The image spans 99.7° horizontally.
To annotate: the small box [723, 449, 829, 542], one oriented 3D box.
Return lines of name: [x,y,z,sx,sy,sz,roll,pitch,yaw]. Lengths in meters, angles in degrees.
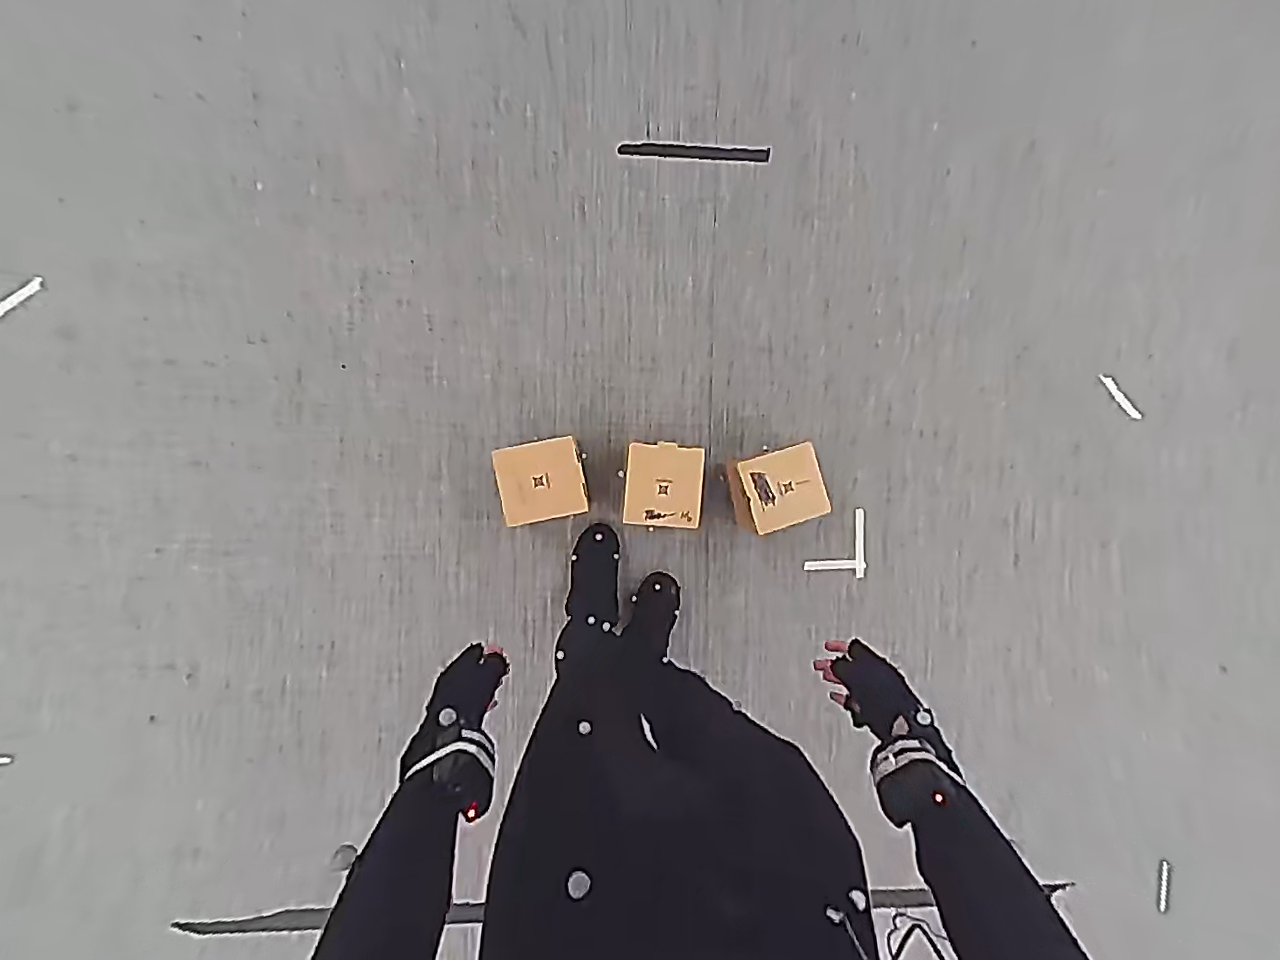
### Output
small box: [0.302,0.033,1.249,0.179,0.176,0.168,-17,93,-5]

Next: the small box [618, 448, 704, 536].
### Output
small box: [0.042,0.026,1.228,0.168,0.176,0.179,5,91,-6]

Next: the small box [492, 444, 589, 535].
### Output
small box: [-0.214,0.017,1.205,0.179,0.176,0.168,-12,91,-4]
